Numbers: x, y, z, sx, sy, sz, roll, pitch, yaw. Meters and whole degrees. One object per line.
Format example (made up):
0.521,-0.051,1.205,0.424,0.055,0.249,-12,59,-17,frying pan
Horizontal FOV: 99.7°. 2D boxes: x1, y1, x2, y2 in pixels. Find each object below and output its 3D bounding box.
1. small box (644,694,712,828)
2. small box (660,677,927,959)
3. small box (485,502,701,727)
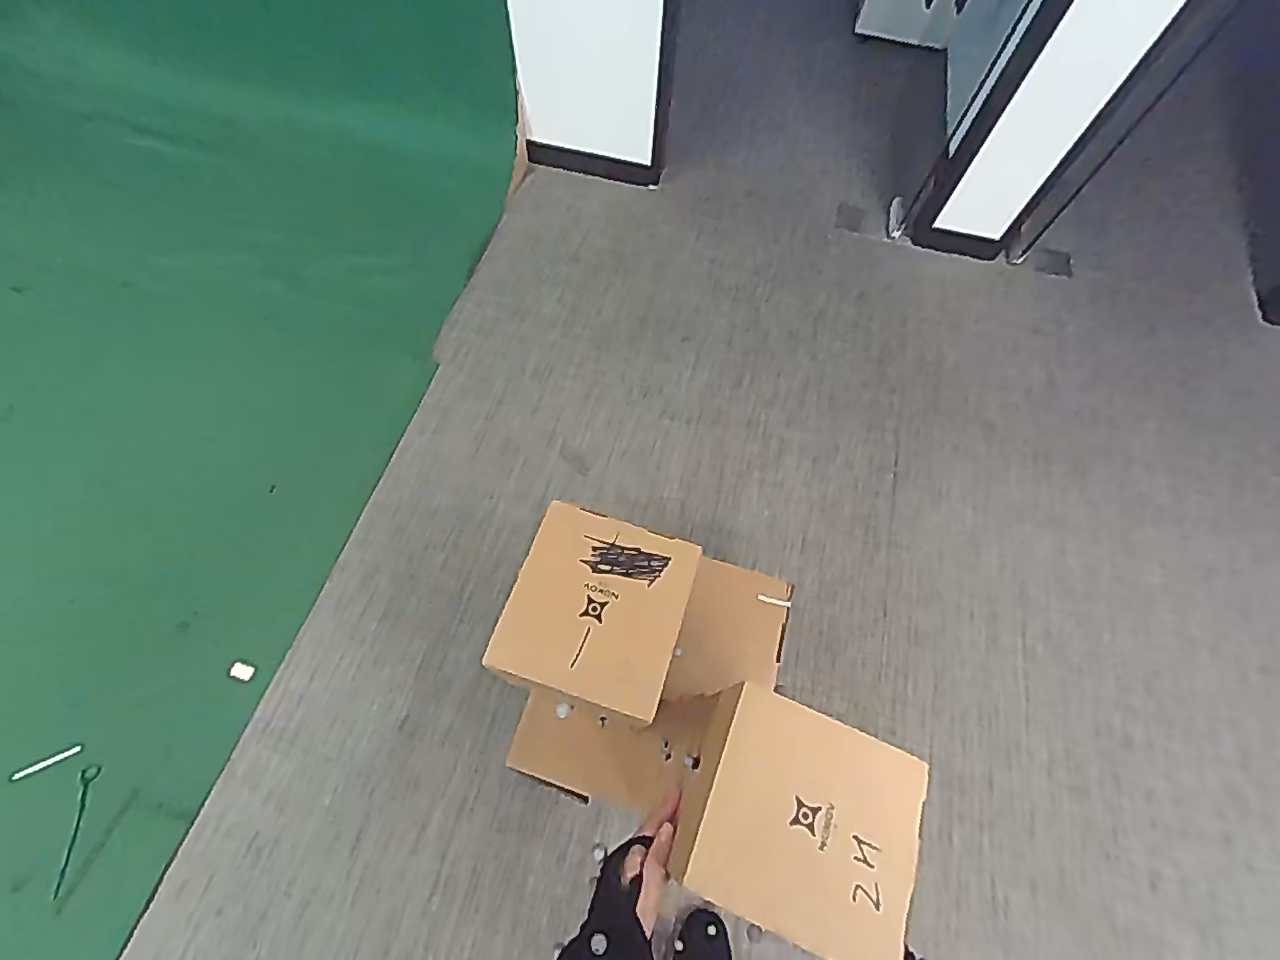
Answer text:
0.110,0.447,0.816,0.168,0.176,0.179,19,63,6,small box
0.131,0.311,0.511,0.179,0.176,0.168,23,64,6,small box
-0.046,0.154,0.593,0.168,0.176,0.179,18,65,5,small box
